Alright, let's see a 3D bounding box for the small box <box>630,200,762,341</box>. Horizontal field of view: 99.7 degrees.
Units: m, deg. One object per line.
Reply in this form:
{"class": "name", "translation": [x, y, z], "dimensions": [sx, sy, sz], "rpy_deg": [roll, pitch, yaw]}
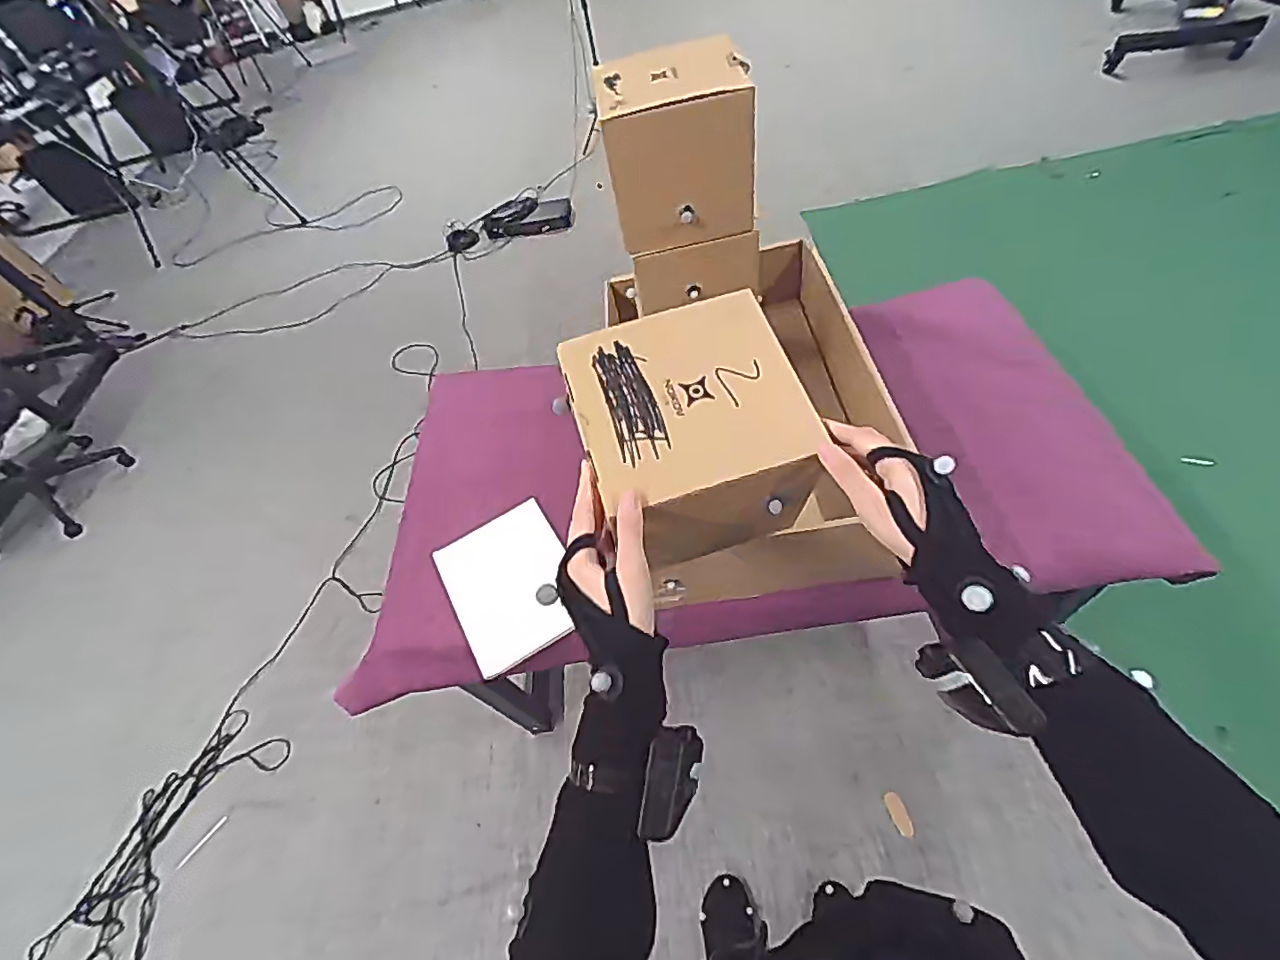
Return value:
{"class": "small box", "translation": [0.079, -0.340, 0.825], "dimensions": [0.179, 0.176, 0.168], "rpy_deg": [-11, 54, 4]}

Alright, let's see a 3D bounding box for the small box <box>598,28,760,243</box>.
{"class": "small box", "translation": [0.049, -0.435, 0.695], "dimensions": [0.179, 0.176, 0.168], "rpy_deg": [-9, 54, 4]}
